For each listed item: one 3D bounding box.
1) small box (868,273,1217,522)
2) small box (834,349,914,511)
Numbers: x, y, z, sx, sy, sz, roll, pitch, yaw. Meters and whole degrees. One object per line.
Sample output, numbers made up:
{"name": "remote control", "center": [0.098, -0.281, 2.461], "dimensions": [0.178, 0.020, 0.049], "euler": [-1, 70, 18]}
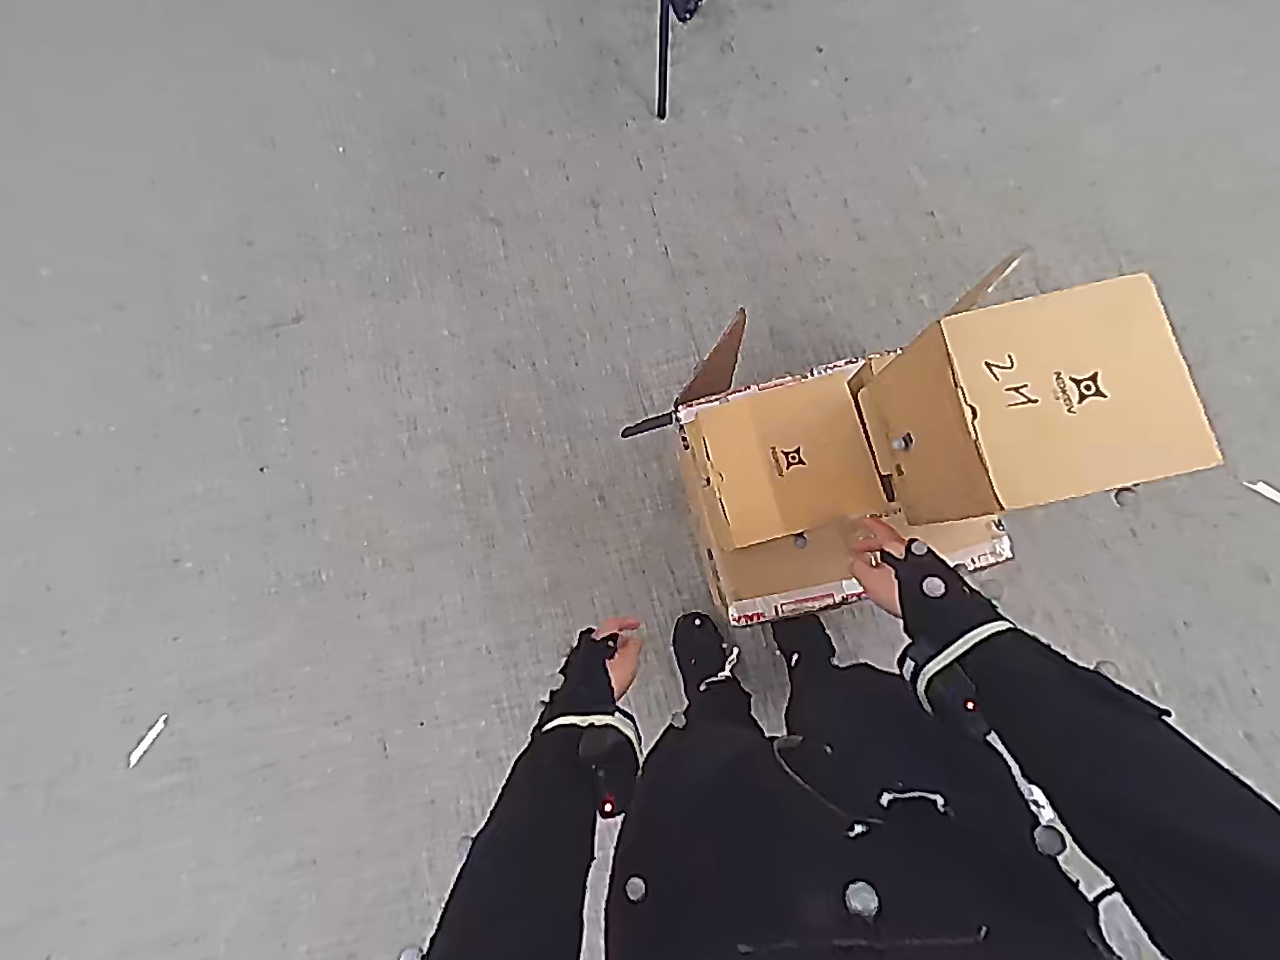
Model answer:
{"name": "small box", "center": [0.344, -0.060, 0.504], "dimensions": [0.179, 0.176, 0.168], "euler": [-13, 80, 2]}
{"name": "small box", "center": [0.355, -0.060, 0.670], "dimensions": [0.179, 0.176, 0.168], "euler": [-9, 81, 2]}
